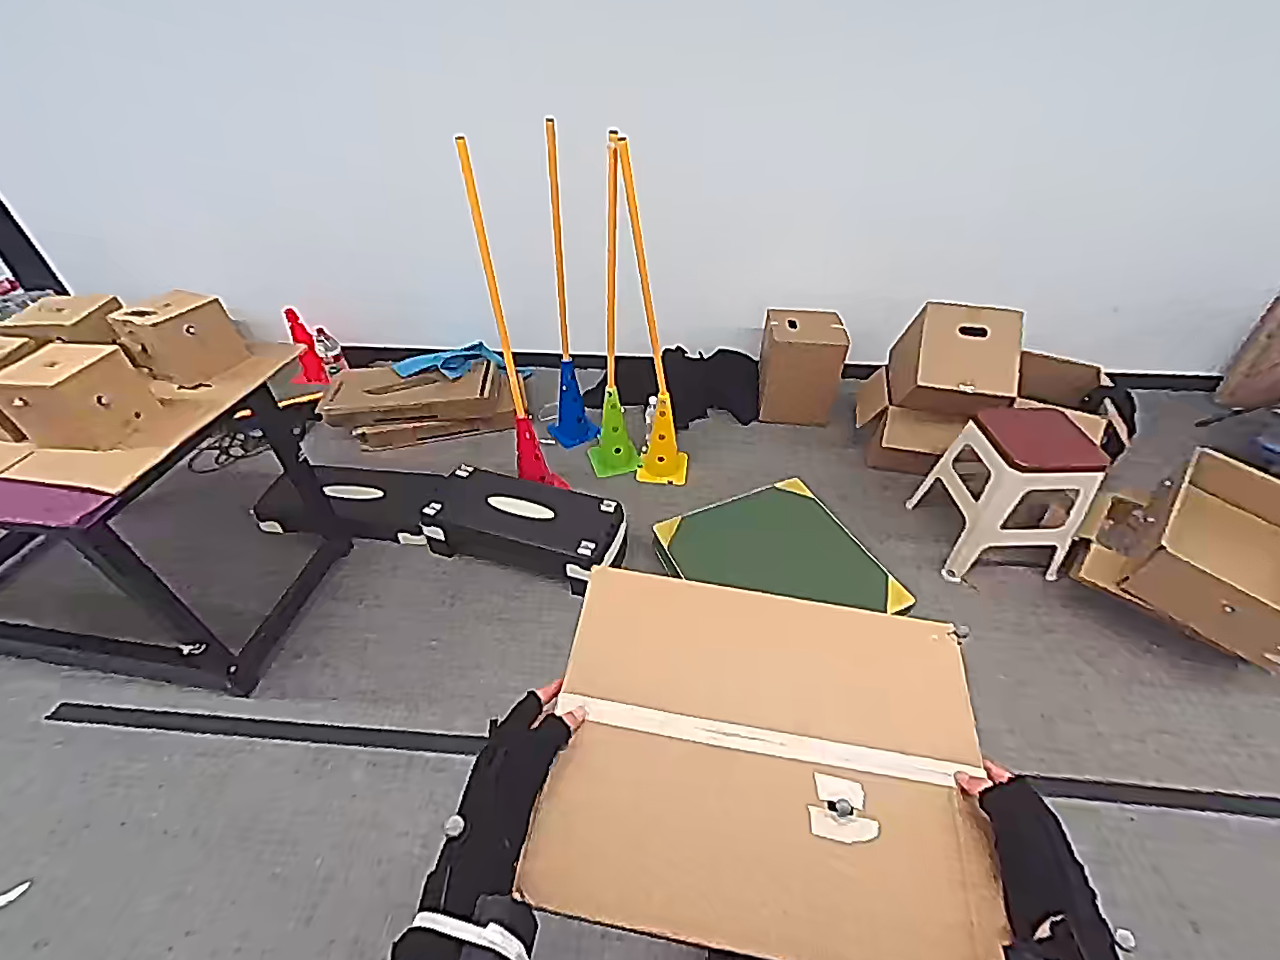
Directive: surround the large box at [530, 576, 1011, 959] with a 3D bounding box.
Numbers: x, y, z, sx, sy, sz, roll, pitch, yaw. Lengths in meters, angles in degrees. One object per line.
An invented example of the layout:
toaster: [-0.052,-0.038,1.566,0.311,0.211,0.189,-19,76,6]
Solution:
large box: [0.118,0.349,0.647,0.408,0.320,0.320,9,52,5]
